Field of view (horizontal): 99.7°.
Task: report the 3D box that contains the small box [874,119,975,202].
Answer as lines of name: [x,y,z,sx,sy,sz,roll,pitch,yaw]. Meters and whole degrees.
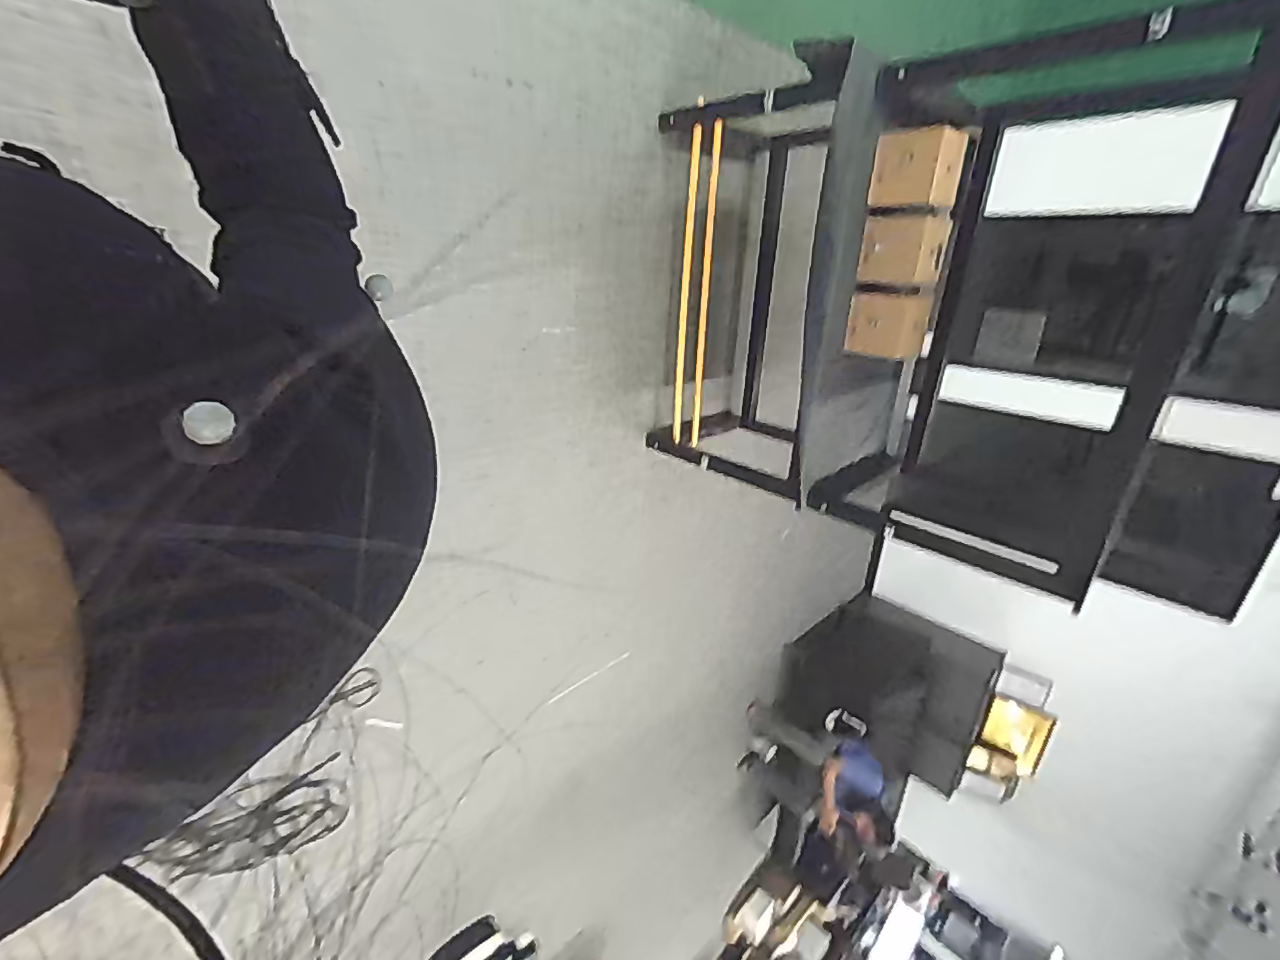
small box: [0.741,-0.830,1.420,0.179,0.176,0.168,-20,123,-40]
